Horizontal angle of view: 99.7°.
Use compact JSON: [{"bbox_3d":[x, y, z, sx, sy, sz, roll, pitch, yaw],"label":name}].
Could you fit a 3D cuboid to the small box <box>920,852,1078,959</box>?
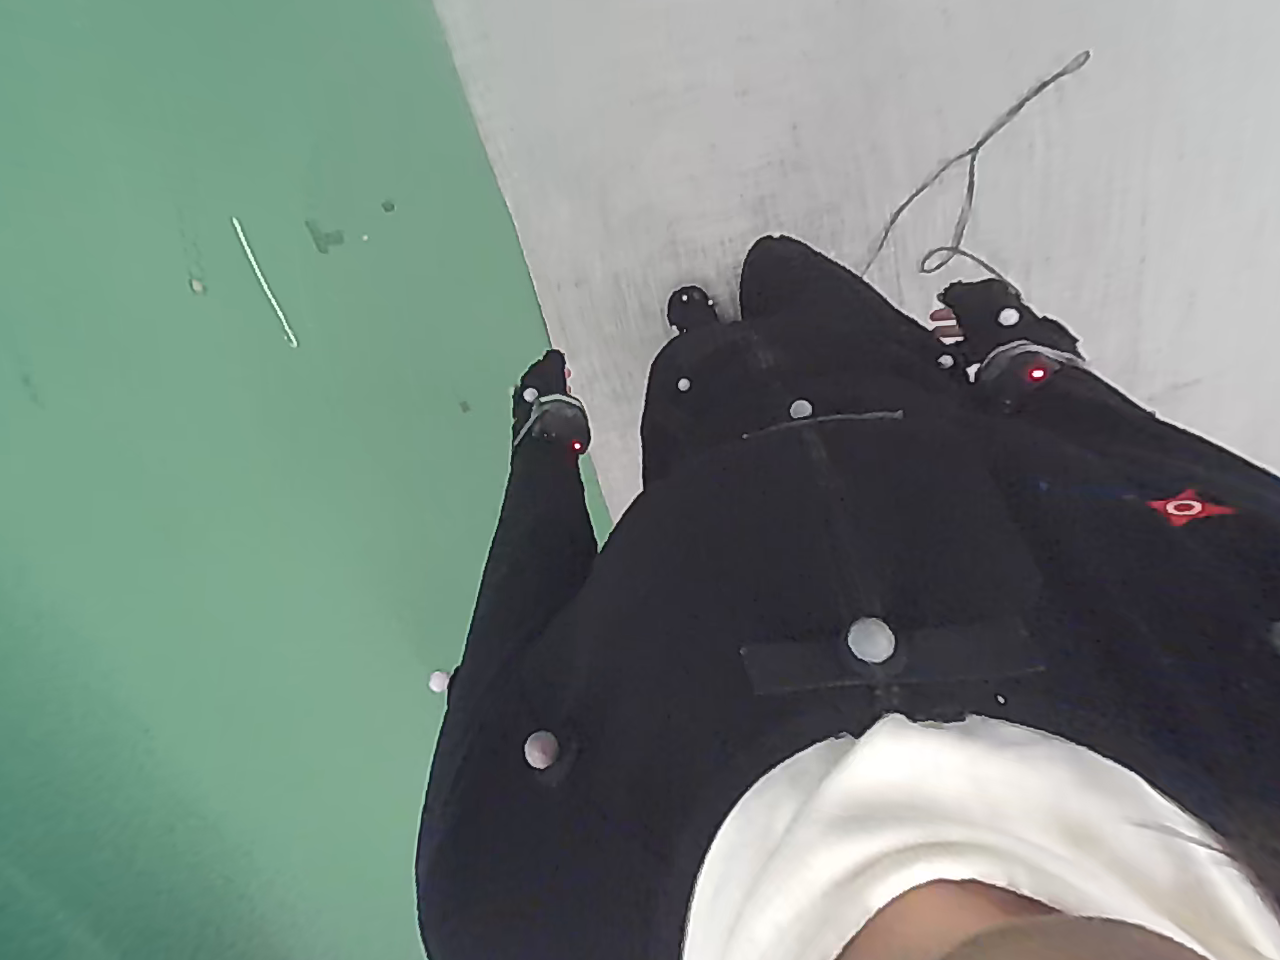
[{"bbox_3d":[0.589,0.763,0.904,0.179,0.176,0.168,-15,113,10],"label":"small box"}]
